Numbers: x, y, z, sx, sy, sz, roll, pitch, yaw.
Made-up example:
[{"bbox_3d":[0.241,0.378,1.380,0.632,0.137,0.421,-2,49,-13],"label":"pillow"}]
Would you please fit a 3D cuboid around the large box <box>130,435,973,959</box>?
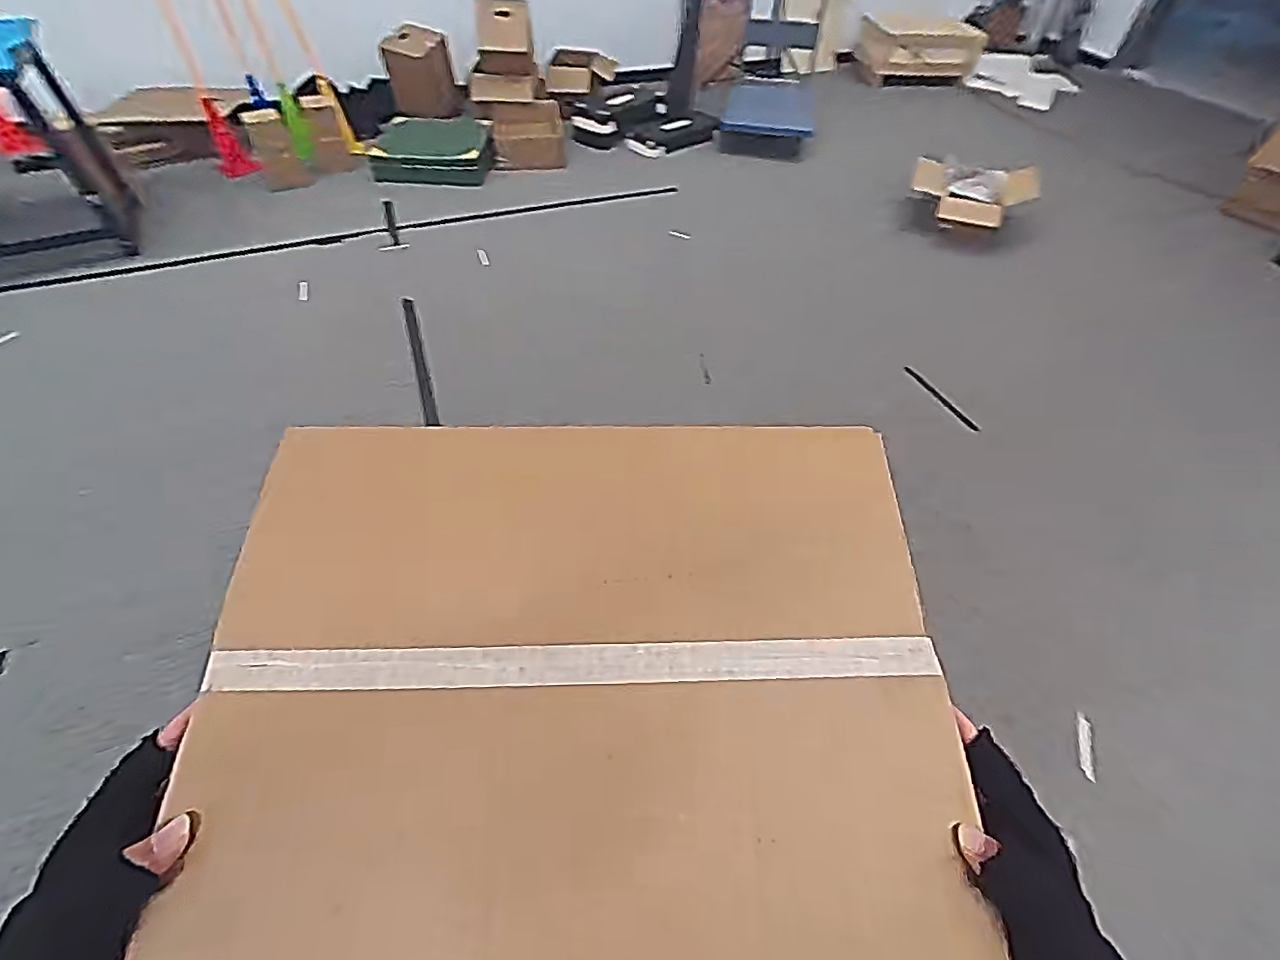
[{"bbox_3d":[-0.046,0.176,0.445,0.408,0.320,0.320,-1,63,-2],"label":"large box"}]
